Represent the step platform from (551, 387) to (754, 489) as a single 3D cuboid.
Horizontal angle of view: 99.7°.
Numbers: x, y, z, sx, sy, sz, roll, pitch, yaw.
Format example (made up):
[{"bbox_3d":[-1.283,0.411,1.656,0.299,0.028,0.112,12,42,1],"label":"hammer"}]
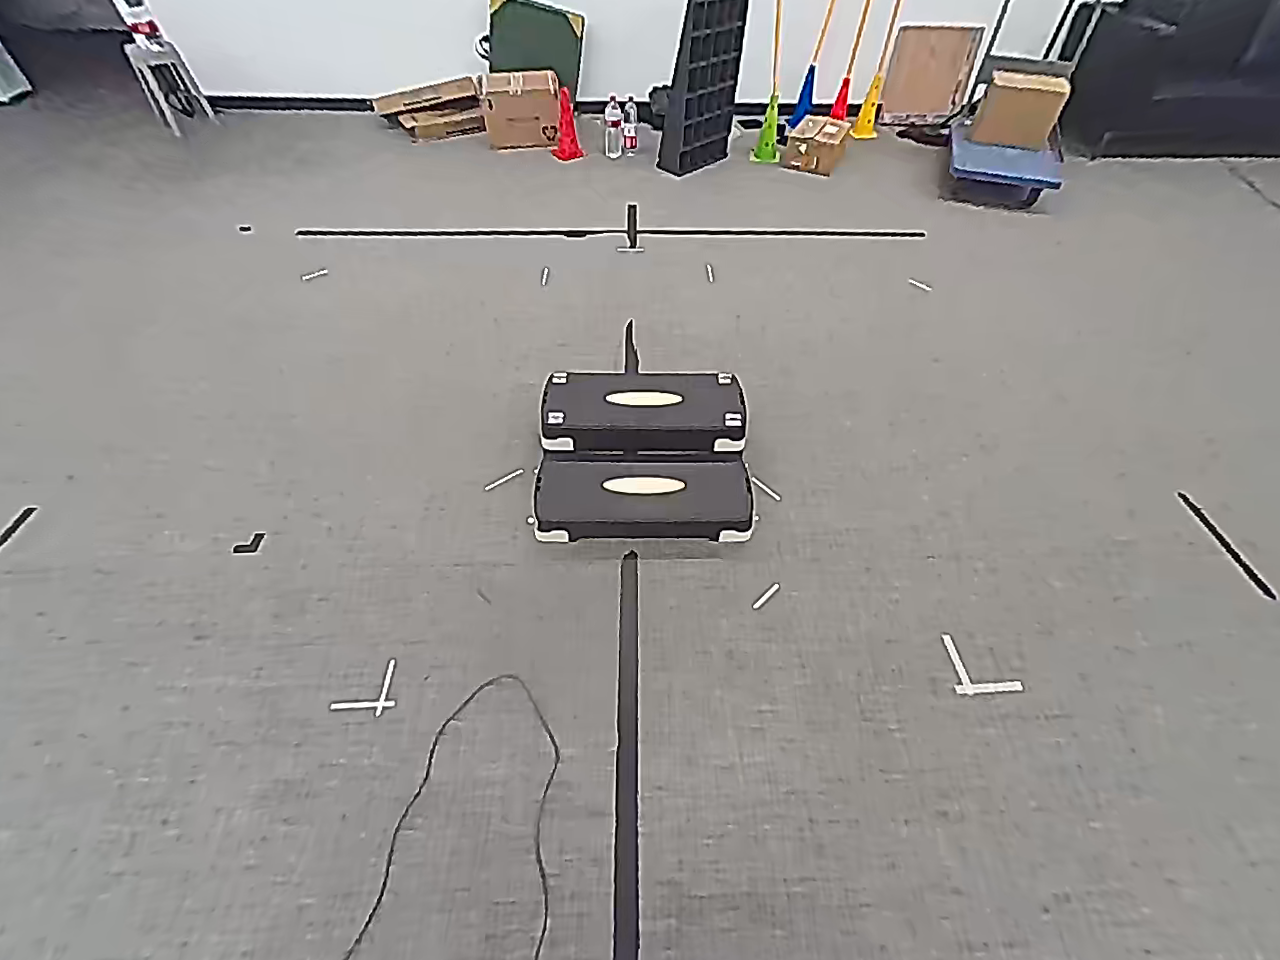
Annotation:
[{"bbox_3d":[0.041,-0.149,1.847,0.684,0.204,0.286,3,48,1],"label":"step platform"}]
